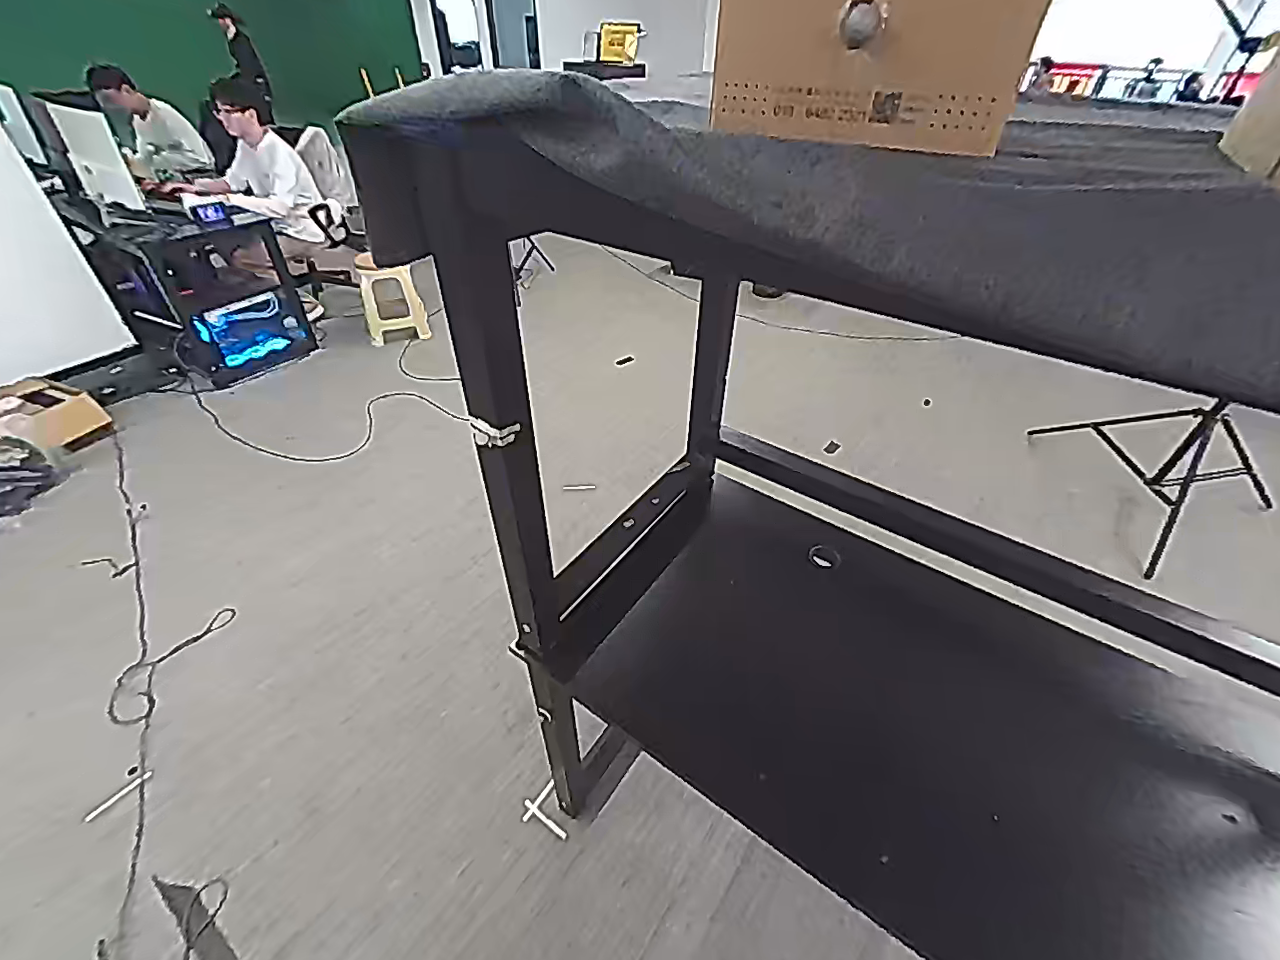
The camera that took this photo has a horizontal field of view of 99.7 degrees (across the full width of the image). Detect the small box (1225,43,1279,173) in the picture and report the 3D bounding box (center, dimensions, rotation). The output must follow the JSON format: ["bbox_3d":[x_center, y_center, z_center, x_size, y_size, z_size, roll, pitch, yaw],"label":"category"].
[{"bbox_3d":[0.405,-0.214,0.219,0.168,0.176,0.179,25,44,25],"label":"small box"}]

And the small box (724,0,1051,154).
[{"bbox_3d":[0.159,-0.312,0.327,0.168,0.176,0.179,18,42,20],"label":"small box"}]
